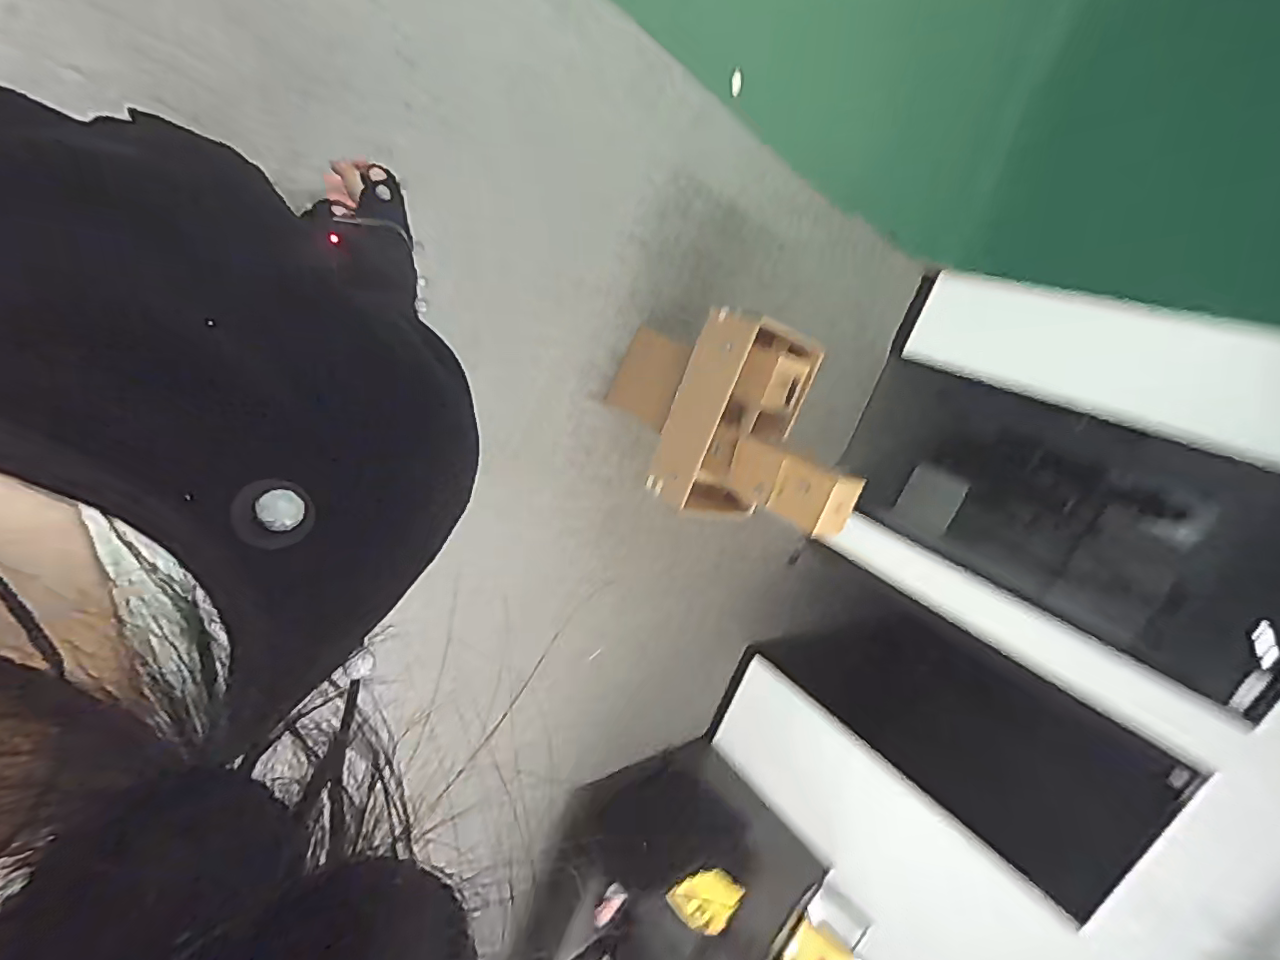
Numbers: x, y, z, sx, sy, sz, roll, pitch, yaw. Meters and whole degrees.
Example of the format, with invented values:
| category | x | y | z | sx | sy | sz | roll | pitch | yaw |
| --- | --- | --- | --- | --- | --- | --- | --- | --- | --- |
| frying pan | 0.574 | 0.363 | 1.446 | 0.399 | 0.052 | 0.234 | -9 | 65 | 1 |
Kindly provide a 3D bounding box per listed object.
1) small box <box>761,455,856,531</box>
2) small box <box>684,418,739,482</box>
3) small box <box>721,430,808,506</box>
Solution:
| category | x | y | z | sx | sy | sz | roll | pitch | yaw |
| --- | --- | --- | --- | --- | --- | --- | --- | --- | --- |
| small box | 0.475 | 0.036 | 1.537 | 0.179 | 0.176 | 0.168 | 5 | 110 | -47 |
| small box | 0.274 | -0.087 | 1.765 | 0.179 | 0.176 | 0.168 | 20 | 100 | -48 |
| small box | 0.370 | -0.039 | 1.636 | 0.168 | 0.176 | 0.179 | -6 | 118 | -43 |
